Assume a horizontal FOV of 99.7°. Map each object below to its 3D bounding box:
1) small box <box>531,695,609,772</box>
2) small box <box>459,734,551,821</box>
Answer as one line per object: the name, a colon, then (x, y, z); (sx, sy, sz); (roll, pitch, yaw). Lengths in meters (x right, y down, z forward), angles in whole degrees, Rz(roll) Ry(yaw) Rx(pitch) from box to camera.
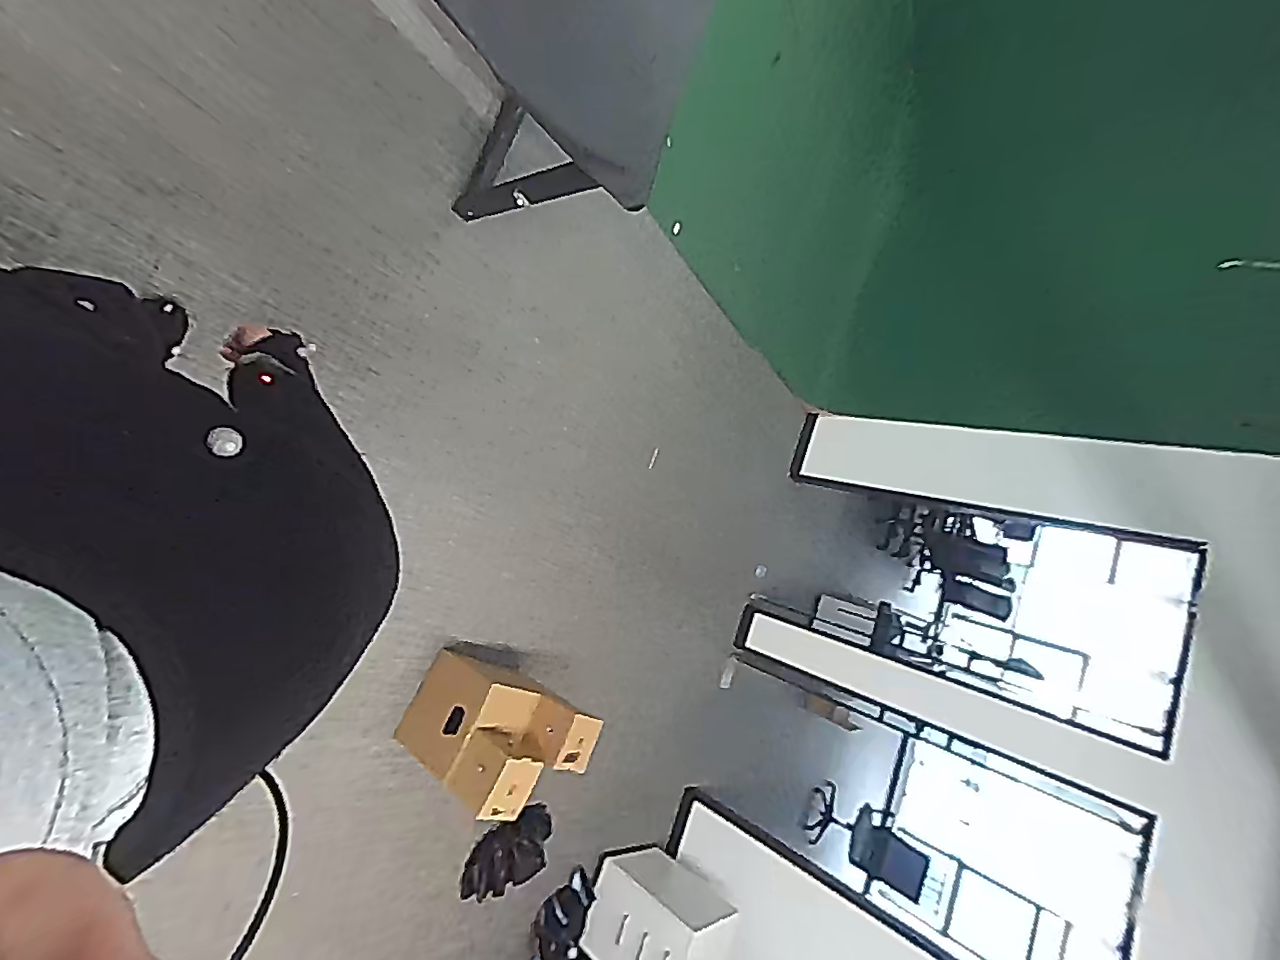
small box: (-0.239, 0.850, 1.815); (0.168, 0.176, 0.179); (43, 62, -47)
small box: (-0.405, 0.884, 1.614); (0.168, 0.176, 0.179); (43, 66, -48)
